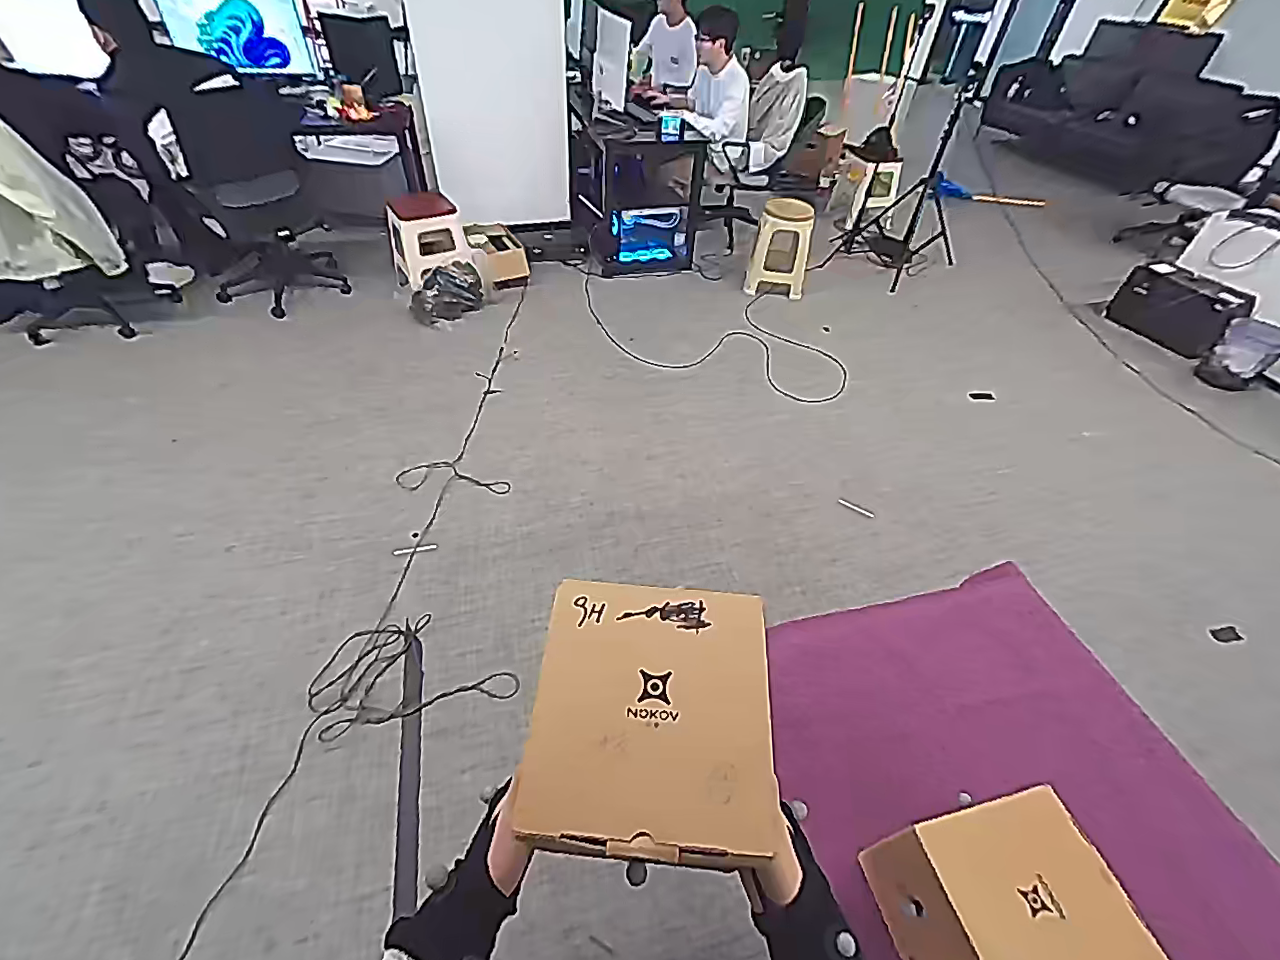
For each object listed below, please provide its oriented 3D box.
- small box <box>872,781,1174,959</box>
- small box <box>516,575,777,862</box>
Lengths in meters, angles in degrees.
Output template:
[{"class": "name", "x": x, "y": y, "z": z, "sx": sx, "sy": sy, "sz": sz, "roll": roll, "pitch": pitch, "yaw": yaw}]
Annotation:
[{"class": "small box", "x": 0.375, "y": 0.451, "z": 0.573, "sx": 0.179, "sy": 0.176, "sz": 0.168, "roll": -7, "pitch": 47, "yaw": -13}, {"class": "small box", "x": 0.009, "y": 0.199, "z": 0.442, "sx": 0.168, "sy": 0.176, "sz": 0.179, "roll": 5, "pitch": 54, "yaw": 1}]
